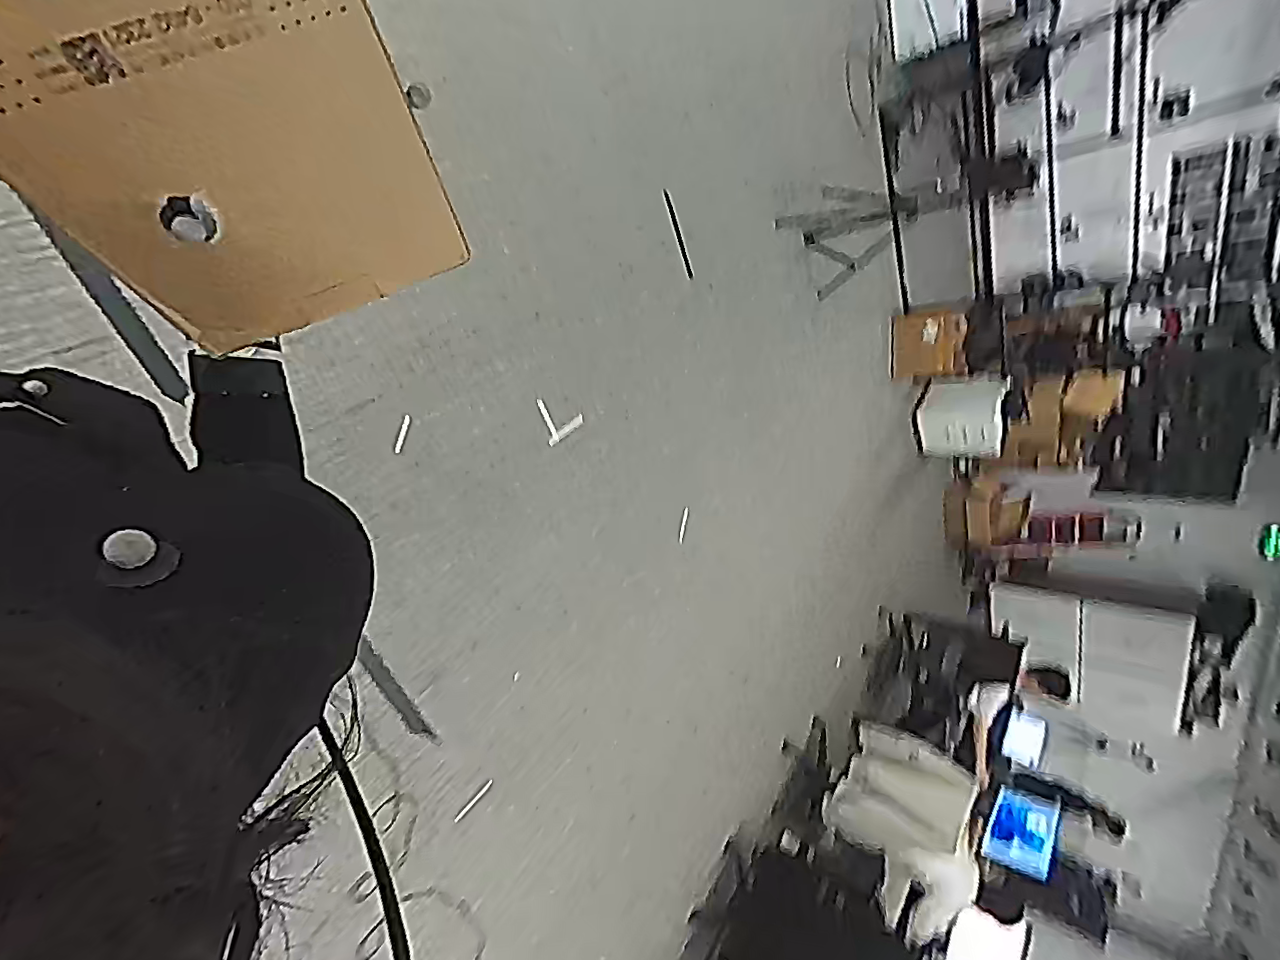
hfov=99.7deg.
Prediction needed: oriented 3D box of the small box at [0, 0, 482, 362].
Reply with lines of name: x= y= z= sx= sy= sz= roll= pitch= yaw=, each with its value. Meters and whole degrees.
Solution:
small box: x=-0.211 y=-0.205 z=0.296 sx=0.168 sy=0.179 sz=0.176 roll=-23 pitch=153 yaw=-11
